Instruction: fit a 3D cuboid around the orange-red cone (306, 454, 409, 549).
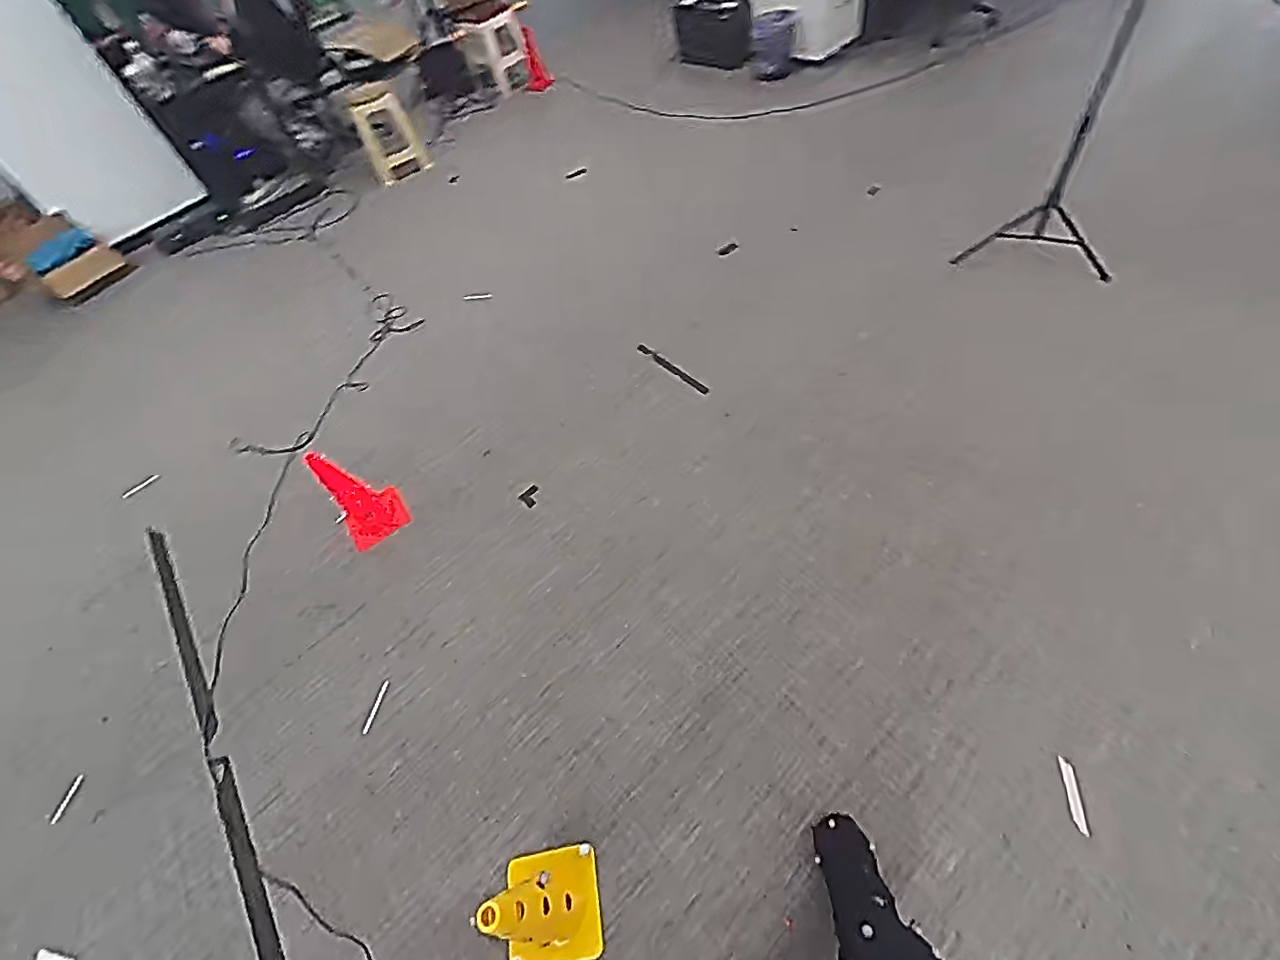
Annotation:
[{"bbox_3d":[-0.950,0.033,1.759,0.198,0.360,0.199,-34,56,-11],"label":"orange-red cone"}]
